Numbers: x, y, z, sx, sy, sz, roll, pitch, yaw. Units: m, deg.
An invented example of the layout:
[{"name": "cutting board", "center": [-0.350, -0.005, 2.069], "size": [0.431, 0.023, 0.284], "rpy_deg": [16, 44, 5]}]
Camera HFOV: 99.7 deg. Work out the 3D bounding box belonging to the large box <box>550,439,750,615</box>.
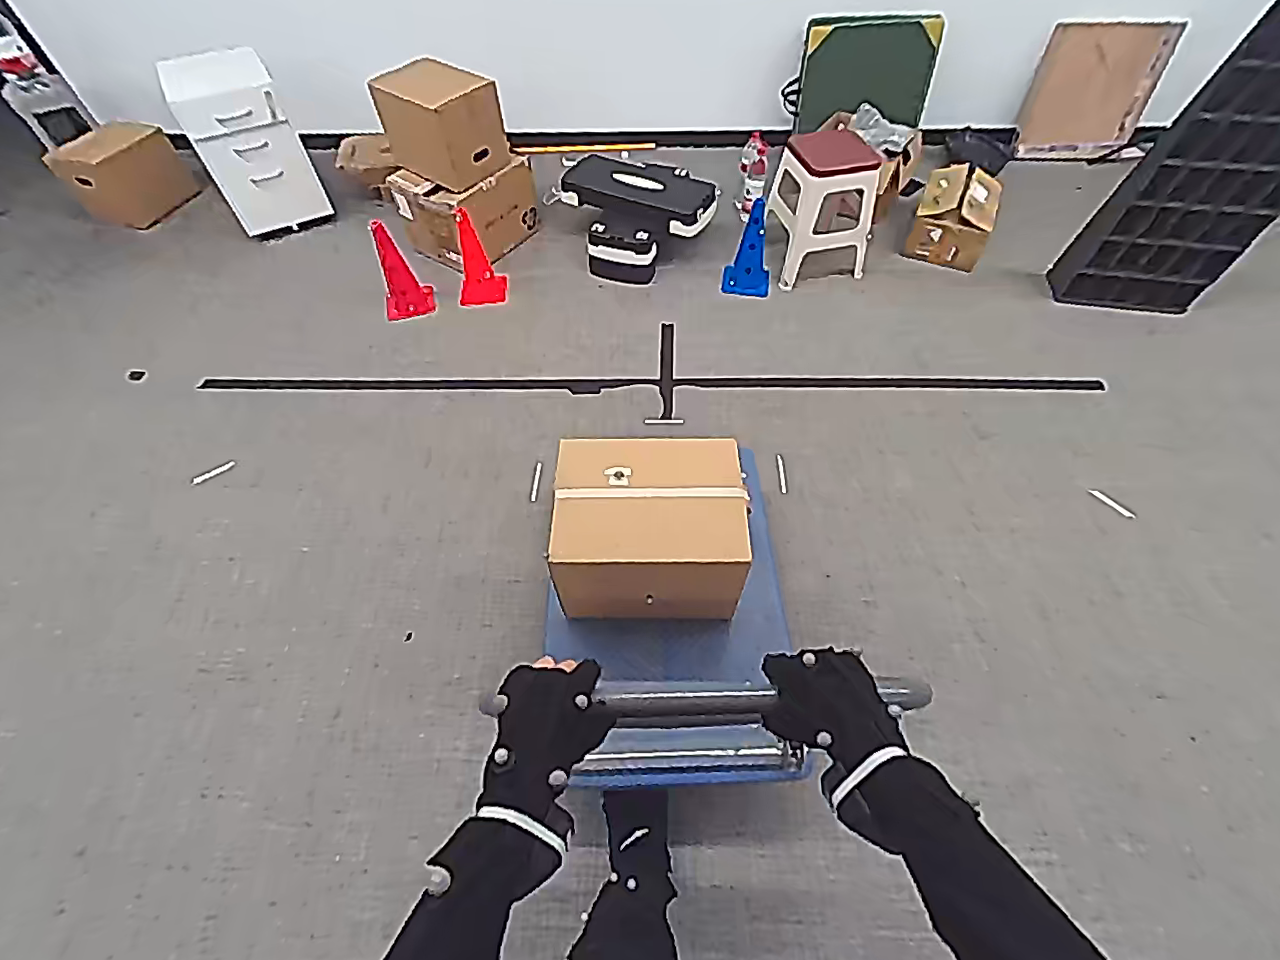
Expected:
[{"name": "large box", "center": [0.023, 0.120, 1.274], "size": [0.408, 0.320, 0.320], "rpy_deg": [-1, 55, 1]}]
